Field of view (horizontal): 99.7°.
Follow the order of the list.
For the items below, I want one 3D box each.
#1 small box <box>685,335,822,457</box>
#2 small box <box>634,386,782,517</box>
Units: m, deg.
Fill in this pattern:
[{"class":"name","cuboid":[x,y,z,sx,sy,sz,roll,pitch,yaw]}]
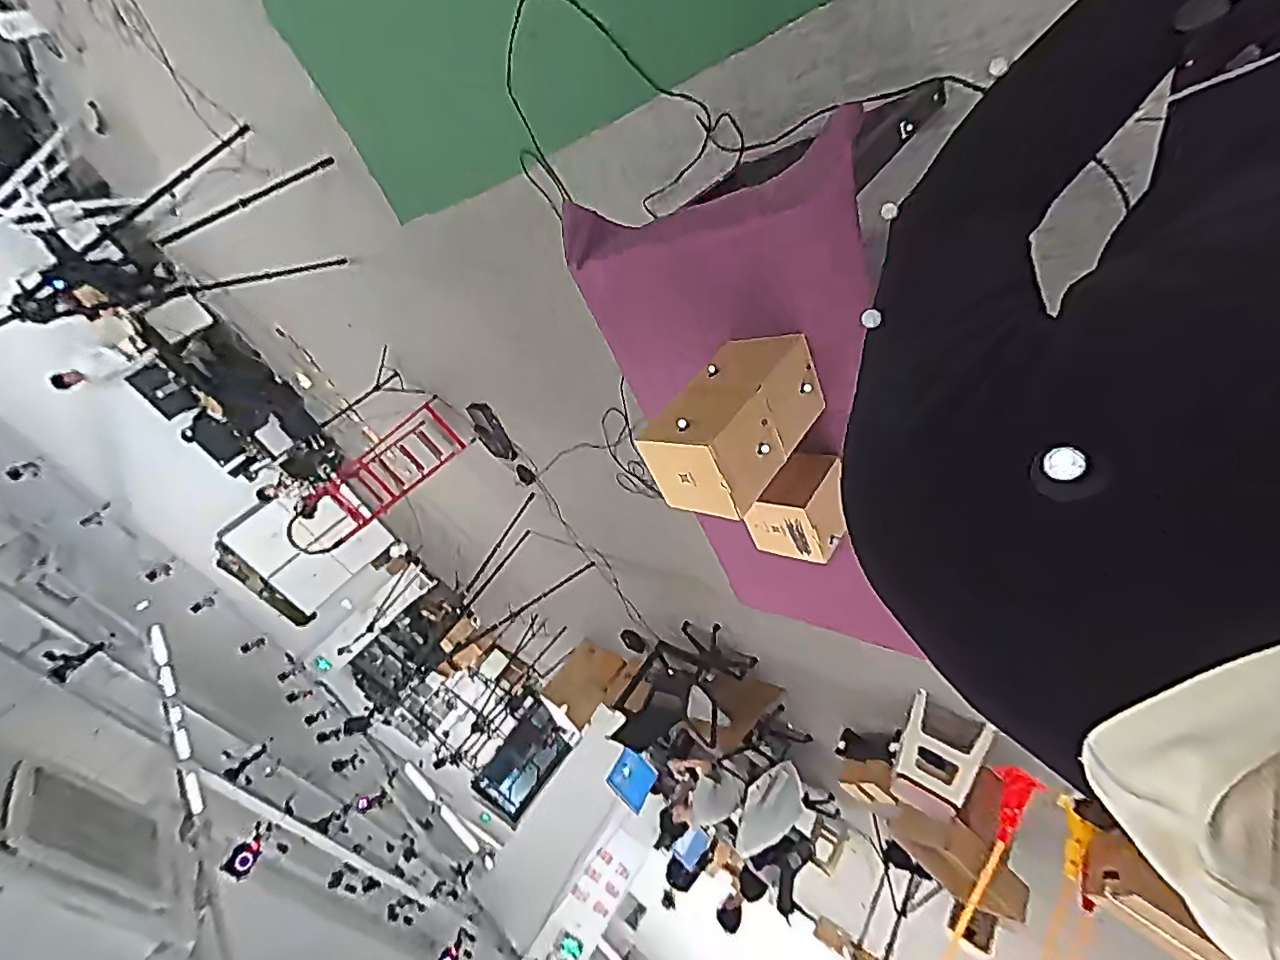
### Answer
[{"class":"small box","cuboid":[0.224,-0.165,1.055,0.179,0.176,0.168,8,138,45]},{"class":"small box","cuboid":[0.127,-0.059,0.980,0.179,0.176,0.168,8,136,45]}]
